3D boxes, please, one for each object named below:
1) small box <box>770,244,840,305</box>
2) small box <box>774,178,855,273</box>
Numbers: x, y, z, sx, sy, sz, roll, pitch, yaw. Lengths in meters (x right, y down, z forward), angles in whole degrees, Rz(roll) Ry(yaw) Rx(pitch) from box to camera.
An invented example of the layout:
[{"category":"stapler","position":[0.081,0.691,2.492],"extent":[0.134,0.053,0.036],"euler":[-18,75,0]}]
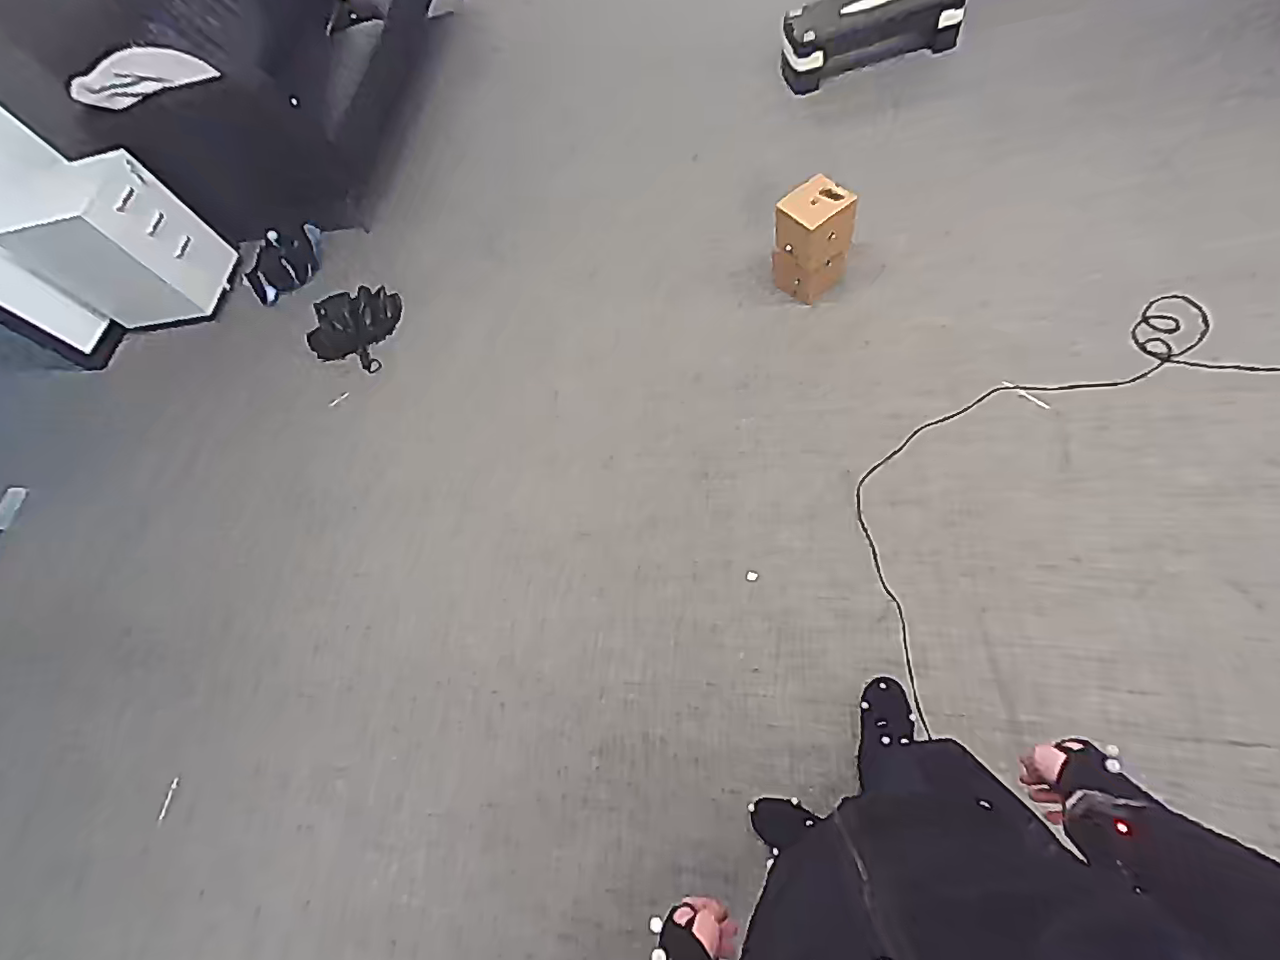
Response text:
[{"category":"small box","position":[0.563,-0.735,1.841],"extent":[0.179,0.176,0.168],"euler":[-42,63,-9]},{"category":"small box","position":[0.537,-0.791,1.687],"extent":[0.179,0.176,0.168],"euler":[-36,62,-3]}]
